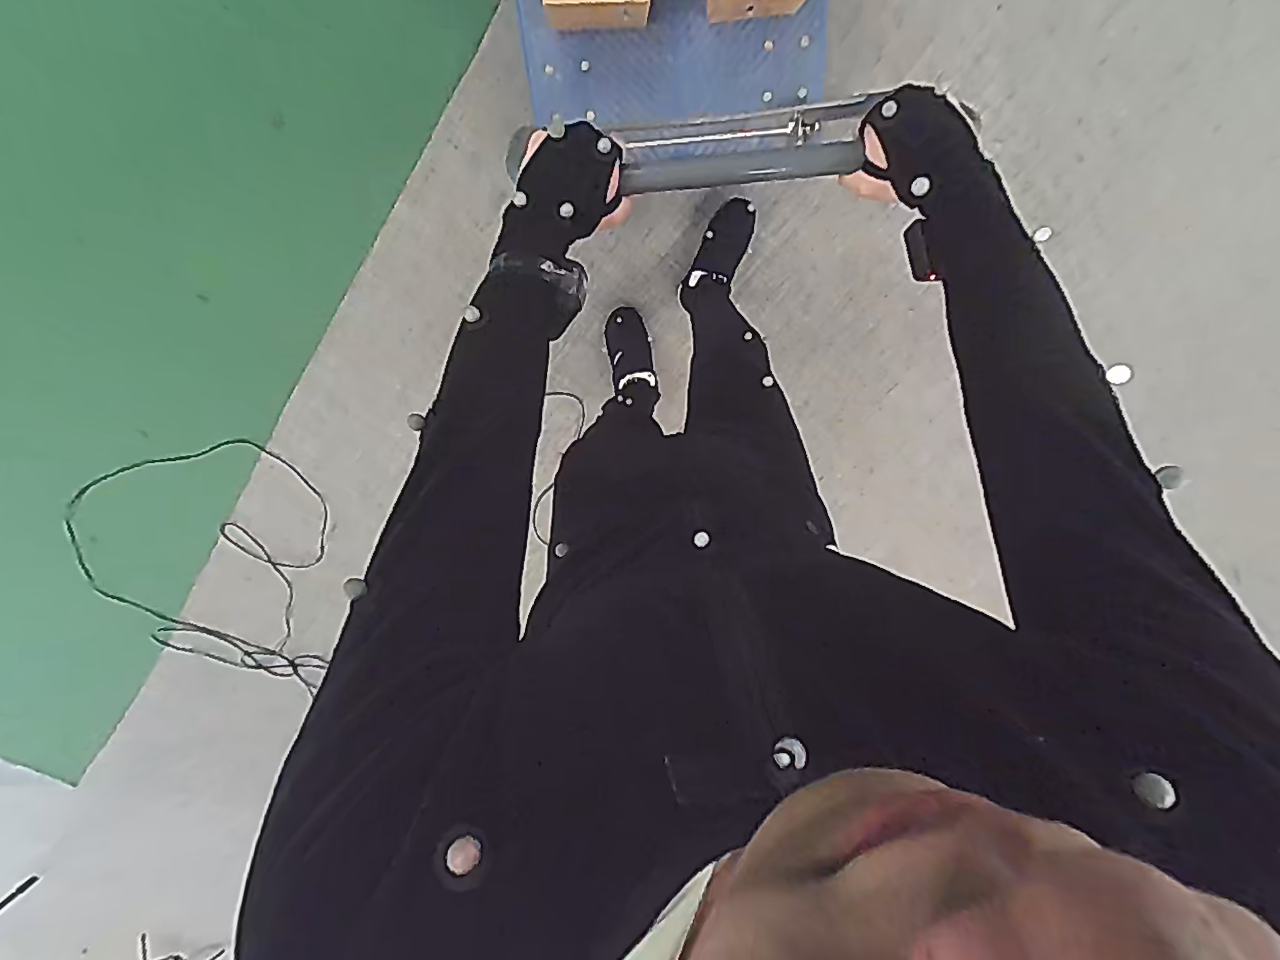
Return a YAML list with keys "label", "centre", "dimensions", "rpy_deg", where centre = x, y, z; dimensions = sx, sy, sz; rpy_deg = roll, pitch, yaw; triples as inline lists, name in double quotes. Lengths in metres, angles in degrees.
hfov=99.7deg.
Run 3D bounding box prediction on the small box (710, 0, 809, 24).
- label: "small box"
  centre: [0.206, -0.894, 0.893]
  dimensions: [0.168, 0.176, 0.179]
  rpy_deg: [-6, 119, 1]
